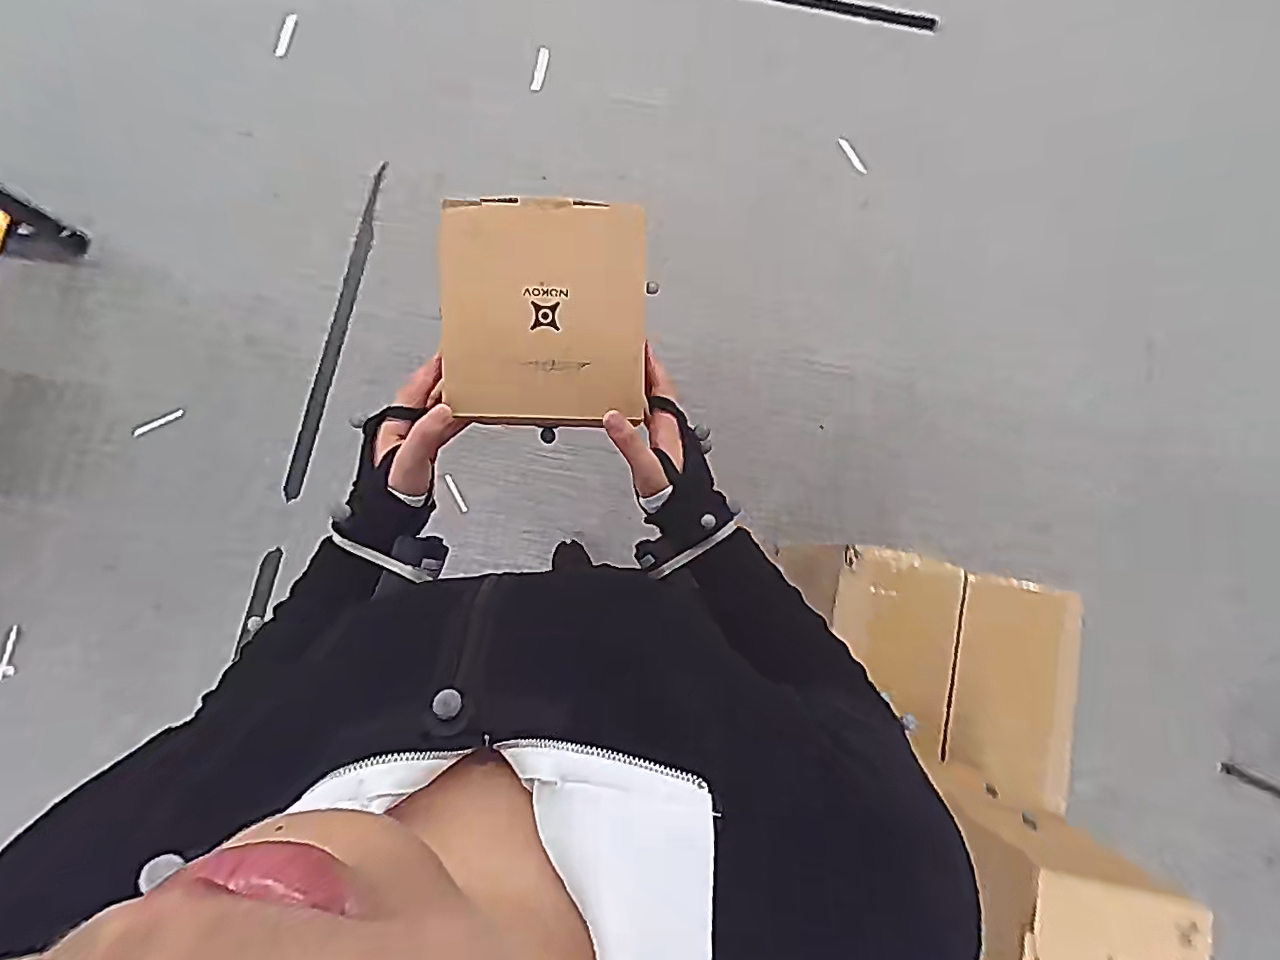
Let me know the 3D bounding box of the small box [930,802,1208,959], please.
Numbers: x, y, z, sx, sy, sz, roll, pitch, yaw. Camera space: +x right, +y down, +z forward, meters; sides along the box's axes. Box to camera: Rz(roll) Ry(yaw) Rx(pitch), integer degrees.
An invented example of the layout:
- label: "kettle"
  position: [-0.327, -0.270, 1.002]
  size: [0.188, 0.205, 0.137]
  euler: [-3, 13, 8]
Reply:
- label: "small box"
  position: [0.452, 0.485, 0.595]
  size: [0.179, 0.176, 0.168]
  euler: [13, 80, 2]

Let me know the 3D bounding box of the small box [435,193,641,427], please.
- label: "small box"
  position: [-0.087, -0.145, 0.517]
  size: [0.168, 0.176, 0.179]
  euler: [0, 93, -3]
